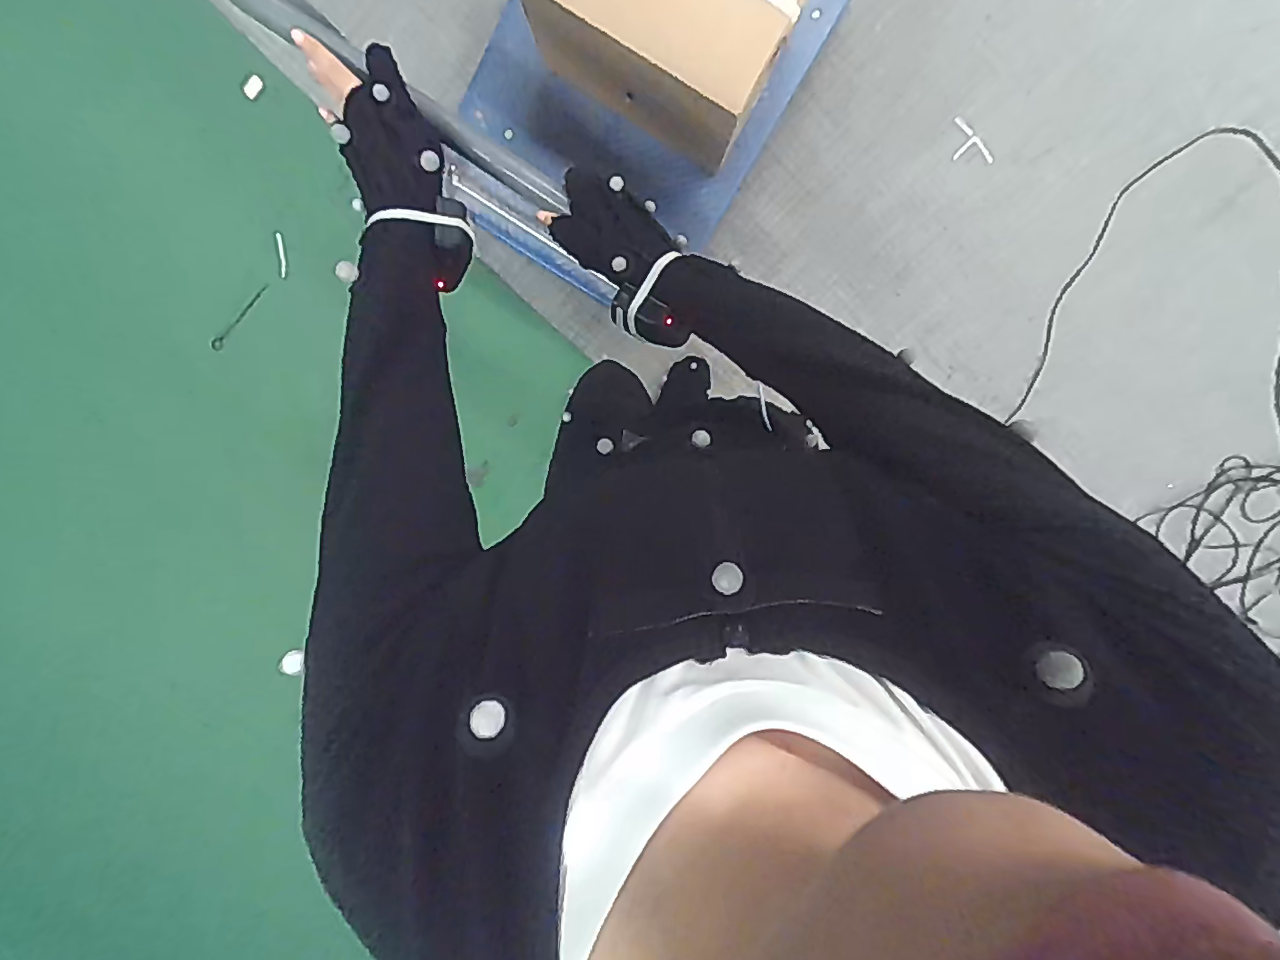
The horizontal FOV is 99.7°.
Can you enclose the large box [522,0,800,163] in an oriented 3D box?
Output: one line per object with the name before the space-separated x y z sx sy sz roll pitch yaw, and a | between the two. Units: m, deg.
large box | 0.055 -0.841 0.943 0.408 0.320 0.320 28 103 -5
